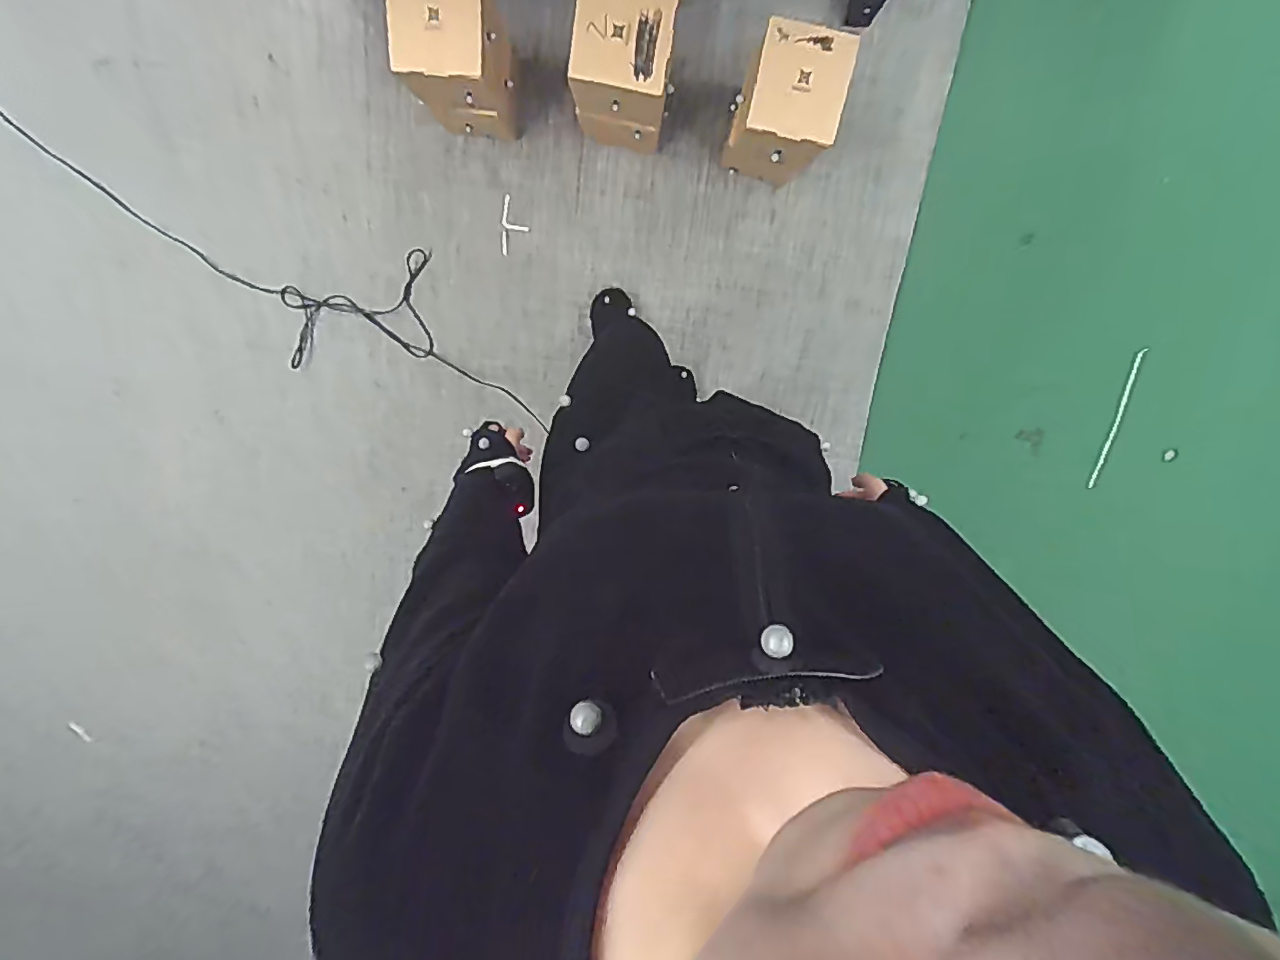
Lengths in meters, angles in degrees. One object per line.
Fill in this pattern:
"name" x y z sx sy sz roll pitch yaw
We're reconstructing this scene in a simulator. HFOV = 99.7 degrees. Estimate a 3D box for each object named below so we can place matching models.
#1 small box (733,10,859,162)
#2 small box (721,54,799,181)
"small box" 0.284 -0.735 1.033 0.168 0.176 0.179 11 108 -4
"small box" 0.284 -0.788 1.191 0.168 0.176 0.179 16 105 -4
